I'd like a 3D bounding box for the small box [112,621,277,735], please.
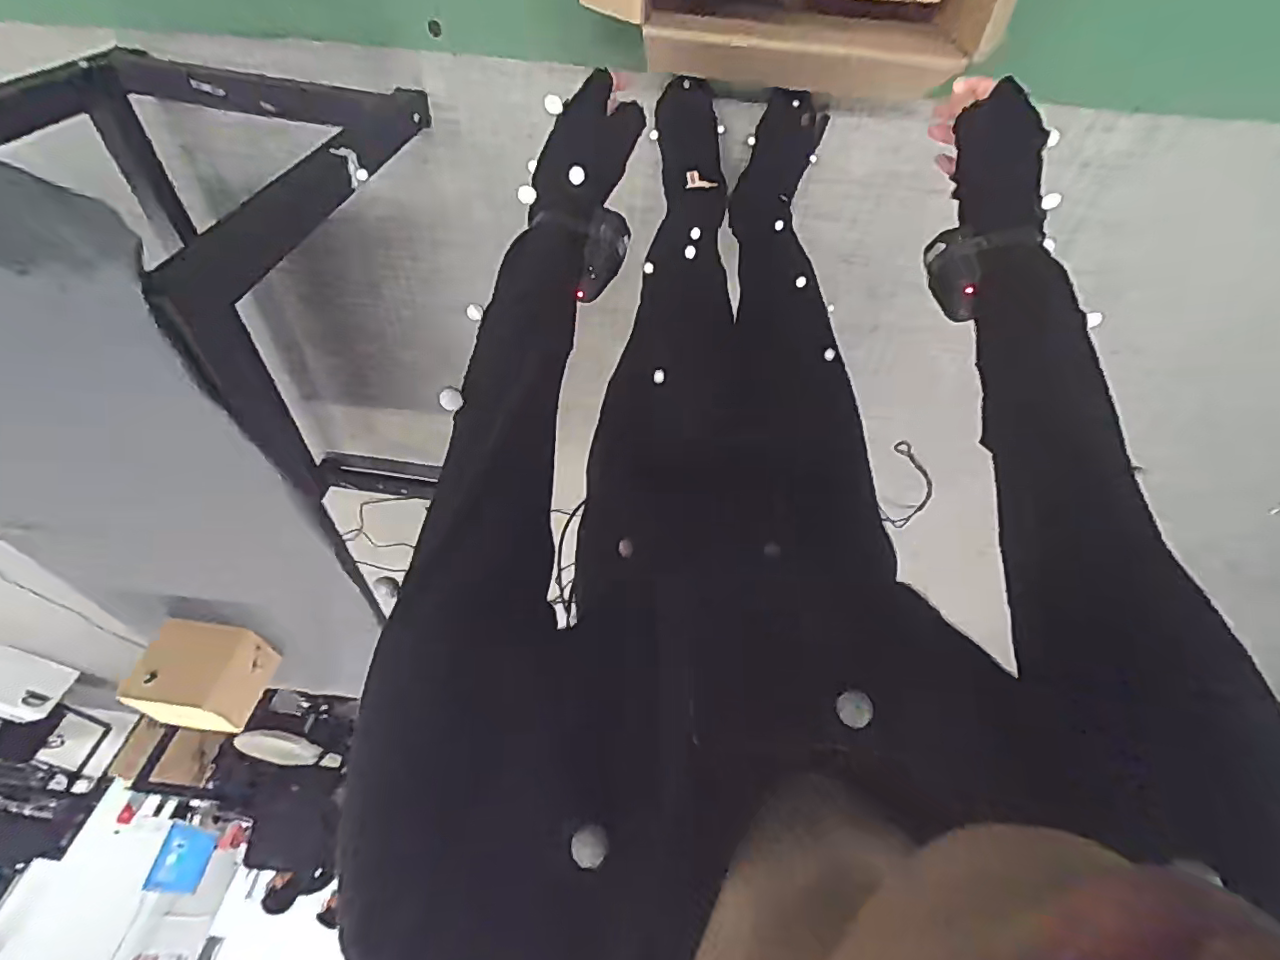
[{"bbox_3d":[-0.919,0.414,1.138,0.179,0.176,0.168,7,139,-1],"label":"small box"}]
